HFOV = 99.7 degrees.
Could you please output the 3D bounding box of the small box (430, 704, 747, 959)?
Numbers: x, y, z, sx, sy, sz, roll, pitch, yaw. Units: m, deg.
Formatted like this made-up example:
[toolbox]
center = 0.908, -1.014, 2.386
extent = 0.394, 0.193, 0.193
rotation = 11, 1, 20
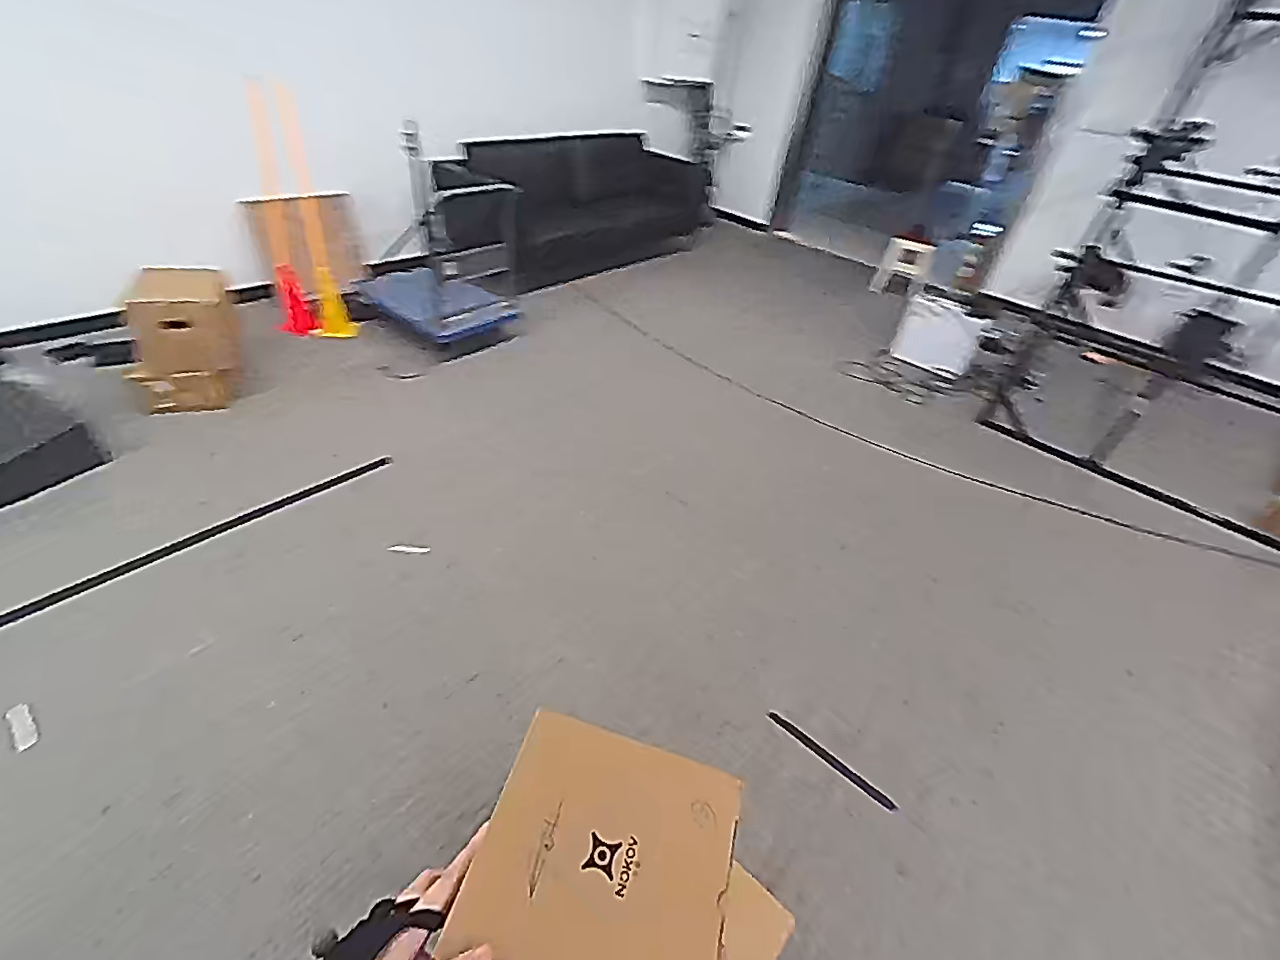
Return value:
[small box]
center = -0.032, 0.313, 0.424
extent = 0.179, 0.176, 0.168
rotation = 16, 43, 7
